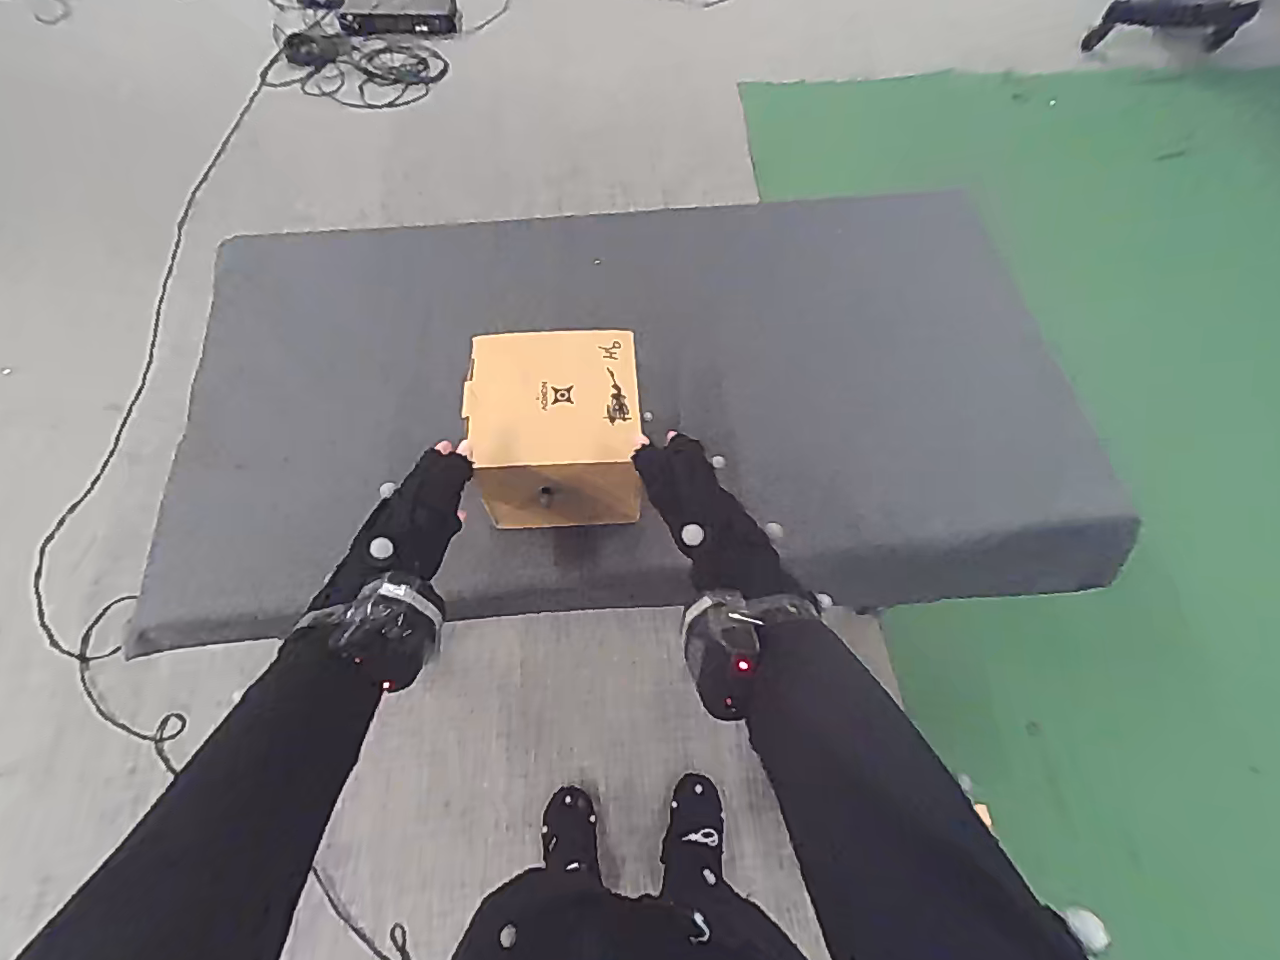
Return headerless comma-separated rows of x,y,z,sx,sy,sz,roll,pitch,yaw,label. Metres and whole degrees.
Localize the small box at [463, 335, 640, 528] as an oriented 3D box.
-0.090,-0.048,0.632,0.179,0.176,0.168,-2,64,-3,small box
